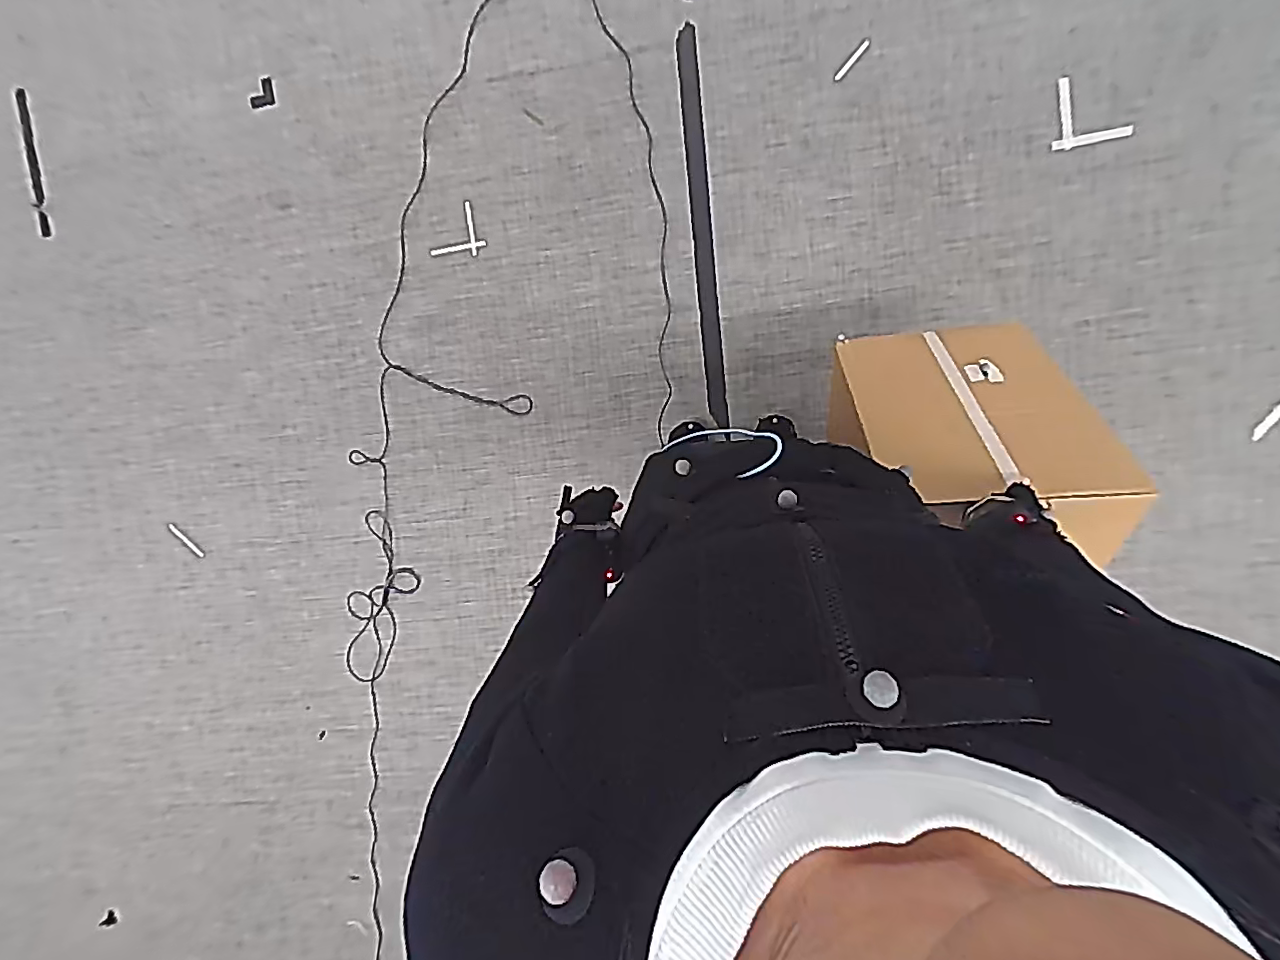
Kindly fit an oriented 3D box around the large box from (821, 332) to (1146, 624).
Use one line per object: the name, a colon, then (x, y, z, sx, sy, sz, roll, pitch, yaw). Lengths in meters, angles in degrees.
large box: (0.517, -0.008, 0.937, 0.320, 0.408, 0.320, -3, 134, 7)
